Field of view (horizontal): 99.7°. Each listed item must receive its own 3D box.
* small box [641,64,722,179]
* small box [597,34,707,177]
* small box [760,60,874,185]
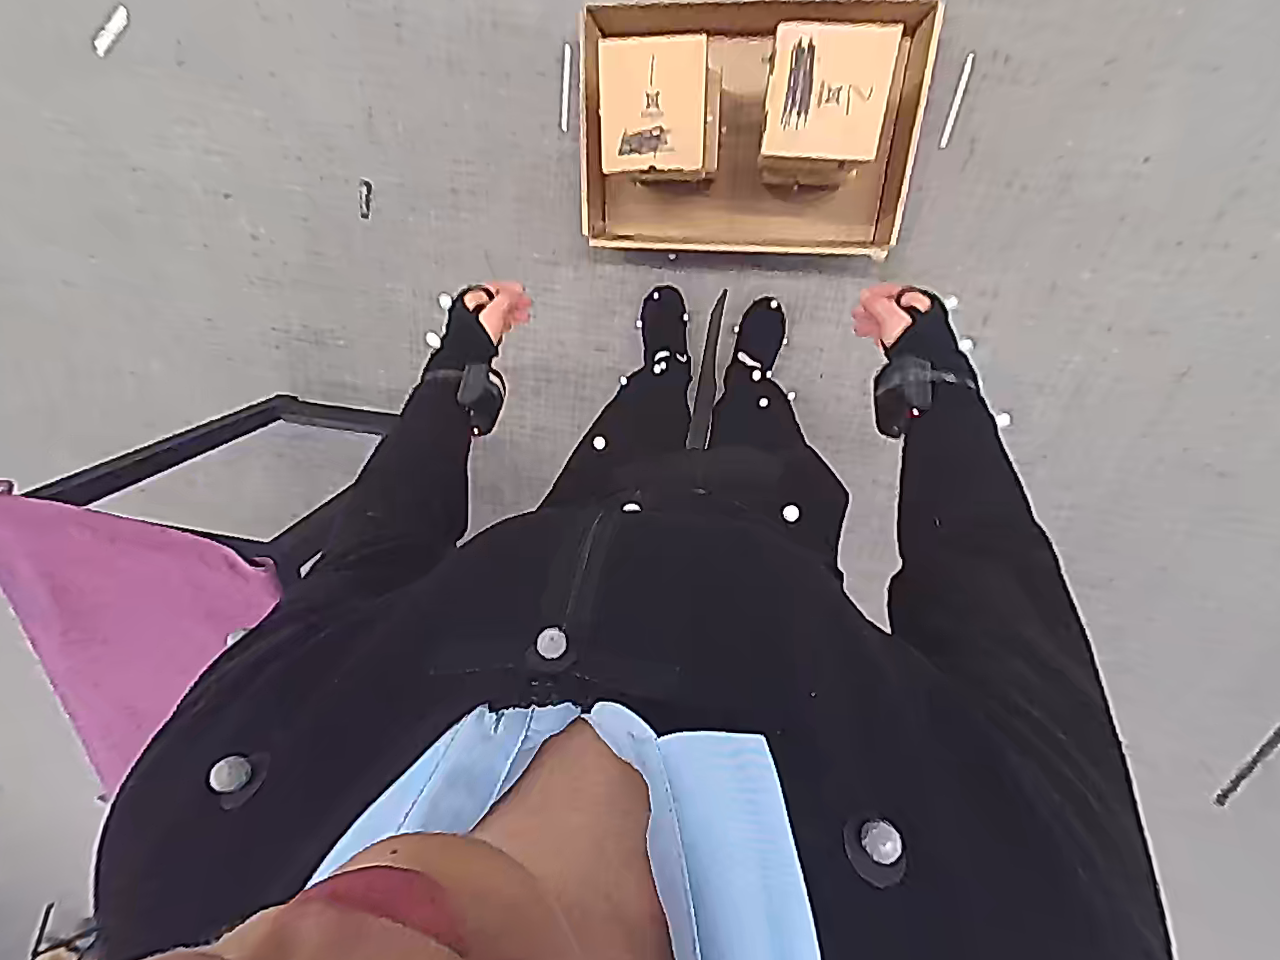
[{"bbox_3d":[0.065,-0.688,1.051,0.179,0.176,0.168,3,115,6],"label":"small box"},{"bbox_3d":[0.026,-0.613,0.908,0.168,0.176,0.179,3,114,6],"label":"small box"},{"bbox_3d":[0.322,-0.666,1.023,0.168,0.176,0.179,6,116,8],"label":"small box"}]
